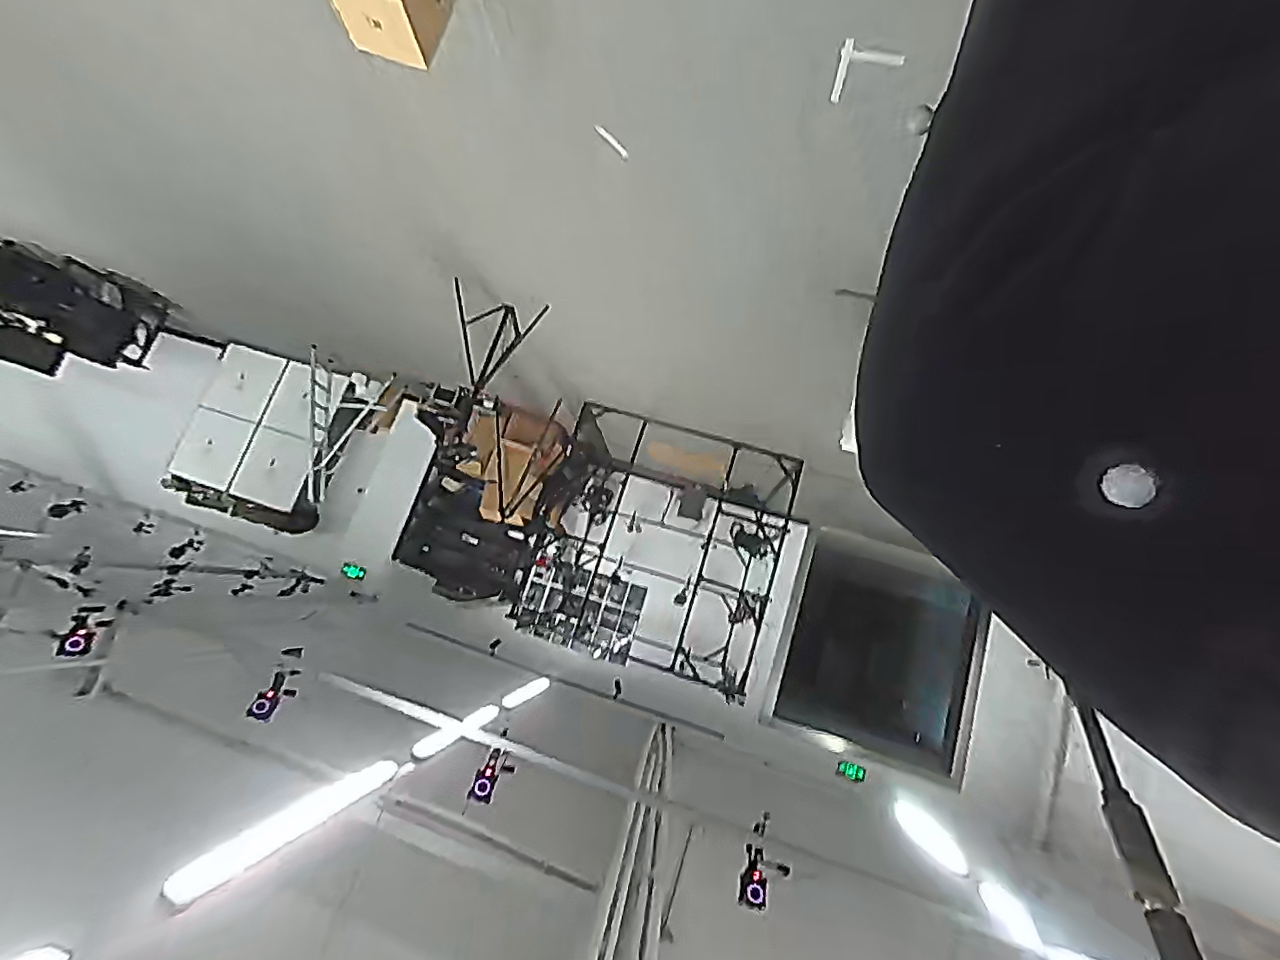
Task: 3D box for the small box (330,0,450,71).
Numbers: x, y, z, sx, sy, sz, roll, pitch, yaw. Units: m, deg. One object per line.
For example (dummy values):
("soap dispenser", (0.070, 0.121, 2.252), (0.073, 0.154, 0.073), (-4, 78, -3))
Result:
("small box", (-0.532, -1.030, 1.141), (0.179, 0.176, 0.168), (18, 171, 0))
